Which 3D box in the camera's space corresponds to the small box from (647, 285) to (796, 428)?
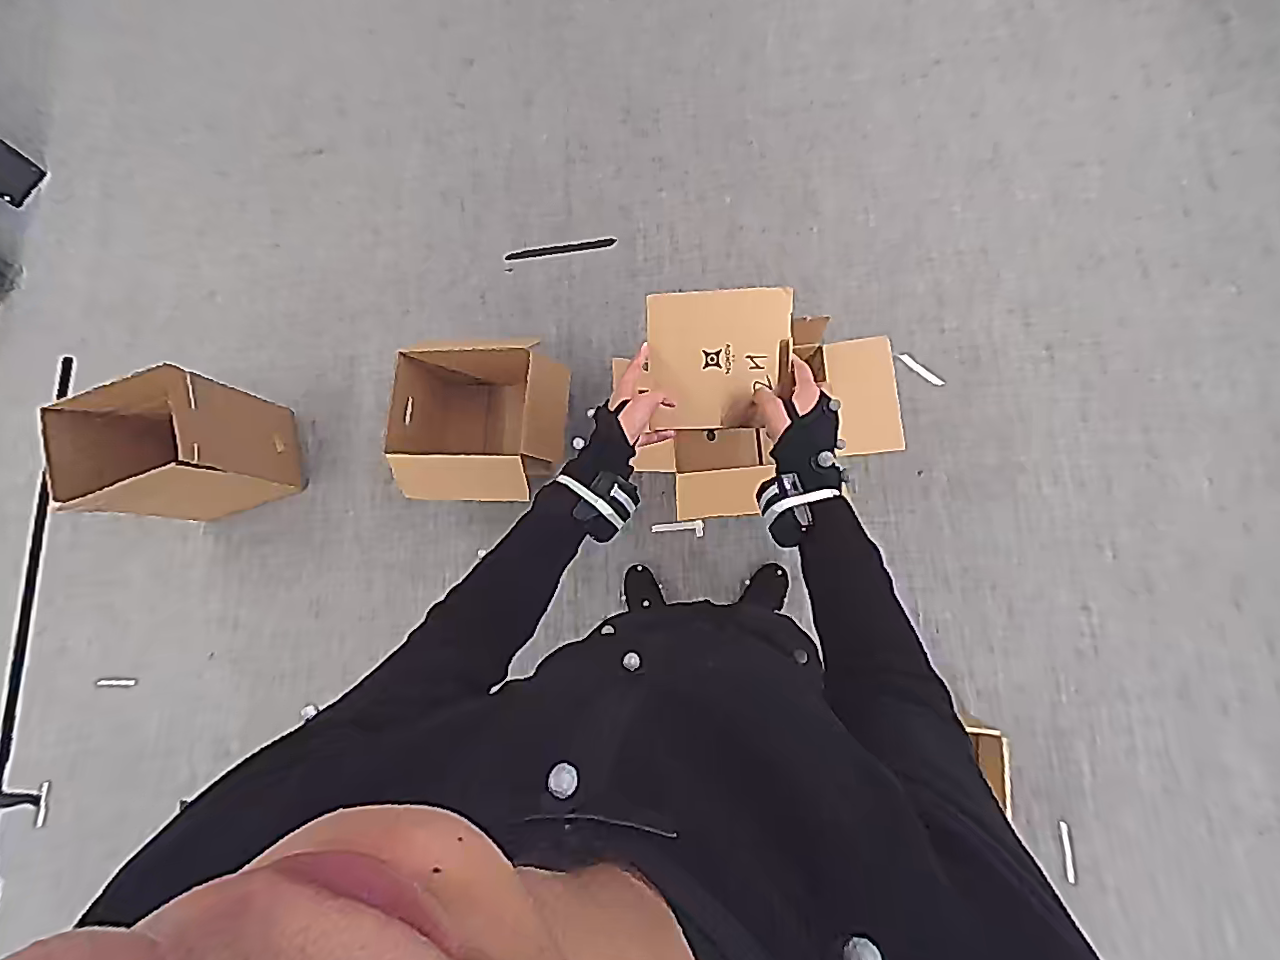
[{"bbox_3d":[0.106,-0.153,0.725,0.179,0.176,0.168,0,96,6],"label":"small box"}]
